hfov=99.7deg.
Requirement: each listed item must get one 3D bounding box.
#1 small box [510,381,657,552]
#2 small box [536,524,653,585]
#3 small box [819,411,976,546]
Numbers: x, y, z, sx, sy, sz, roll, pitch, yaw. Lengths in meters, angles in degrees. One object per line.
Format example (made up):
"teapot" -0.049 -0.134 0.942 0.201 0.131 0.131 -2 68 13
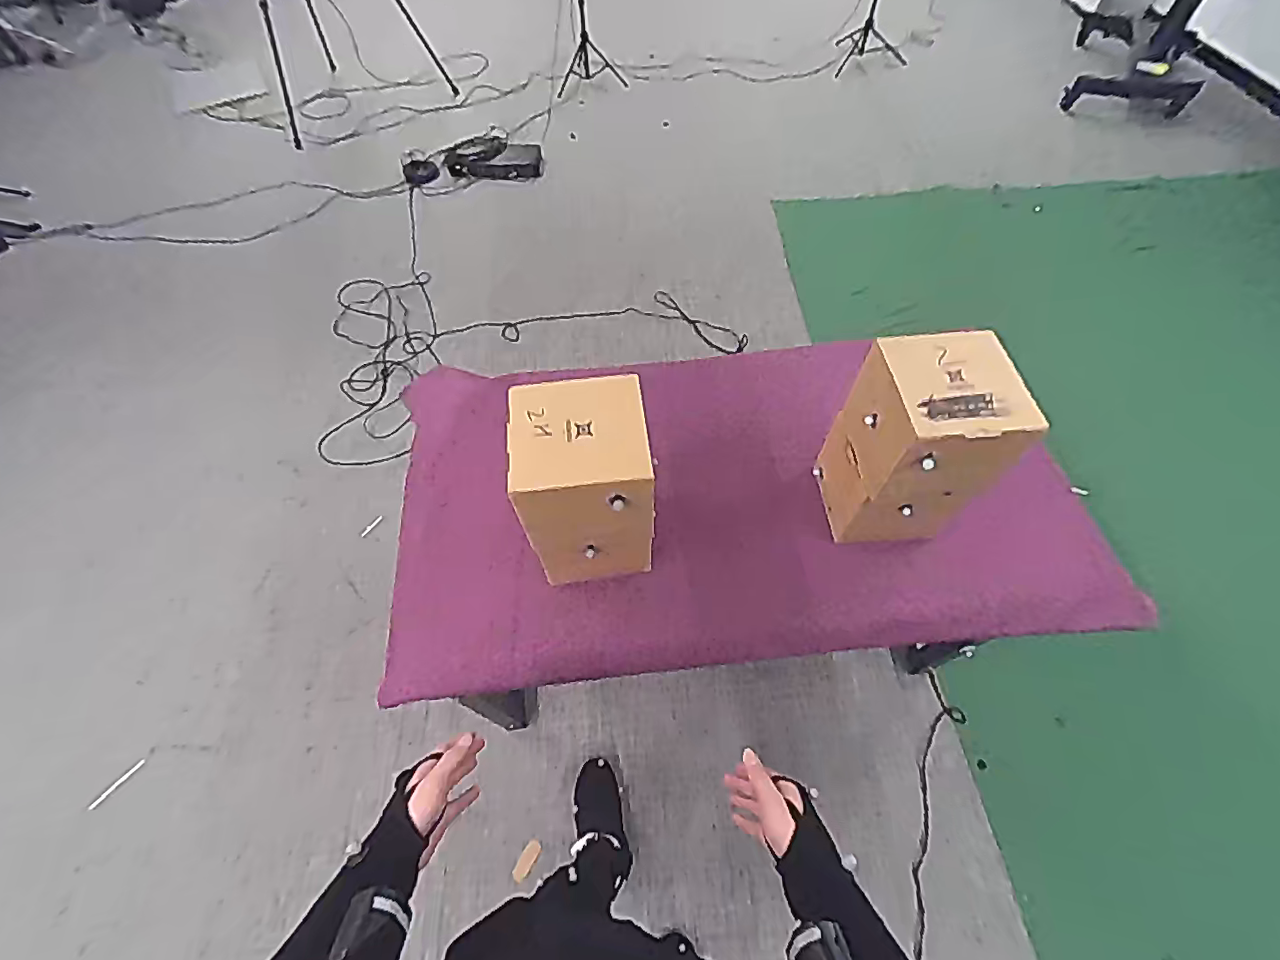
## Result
"small box" -0.074 -0.013 0.744 0.179 0.176 0.168 -6 58 -3
"small box" -0.077 0.061 0.893 0.179 0.176 0.168 -8 59 -3
"small box" 0.417 0.003 0.919 0.179 0.176 0.168 -3 58 -1
